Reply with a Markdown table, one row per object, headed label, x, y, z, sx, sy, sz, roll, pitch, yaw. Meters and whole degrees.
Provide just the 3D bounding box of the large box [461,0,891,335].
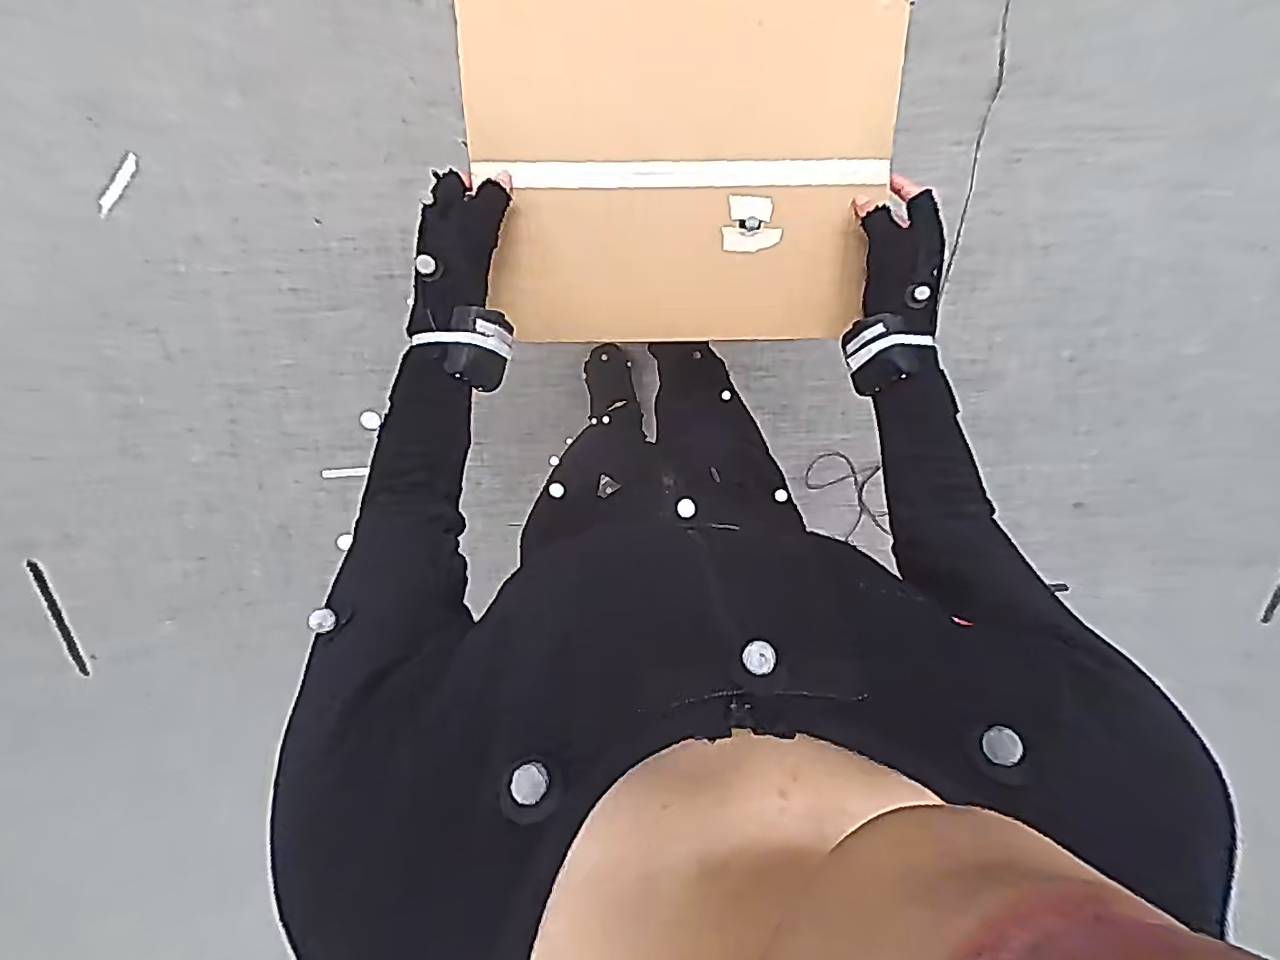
| label | x | y | z | sx | sy | sz | roll | pitch | yaw |
| --- | --- | --- | --- | --- | --- | --- | --- | --- | --- |
| large box | 0.031 | -0.359 | 0.678 | 0.408 | 0.320 | 0.320 | -3 | 110 | -3 |
